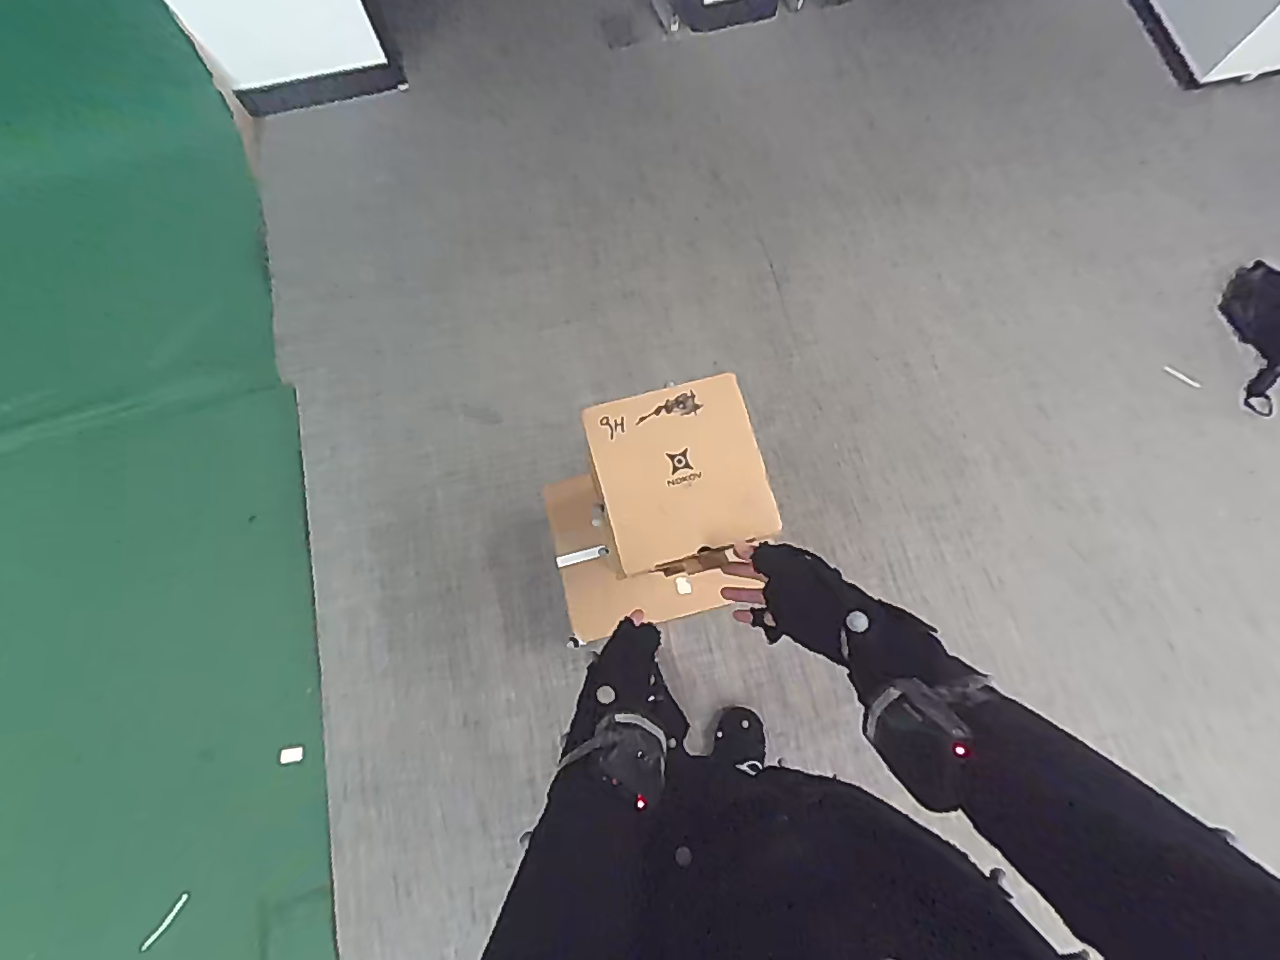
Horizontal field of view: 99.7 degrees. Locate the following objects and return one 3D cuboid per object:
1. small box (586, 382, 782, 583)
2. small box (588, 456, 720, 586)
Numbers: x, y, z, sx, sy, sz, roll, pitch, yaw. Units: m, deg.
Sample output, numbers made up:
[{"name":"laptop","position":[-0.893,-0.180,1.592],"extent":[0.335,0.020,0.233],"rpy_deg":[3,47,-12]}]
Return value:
[{"name":"small box","position":[0.041,0.011,0.625],"extent":[0.168,0.176,0.179],"rpy_deg":[-15,81,-5]},{"name":"small box","position":[0.028,0.047,0.784],"extent":[0.168,0.176,0.179],"rpy_deg":[-15,79,-6]}]
